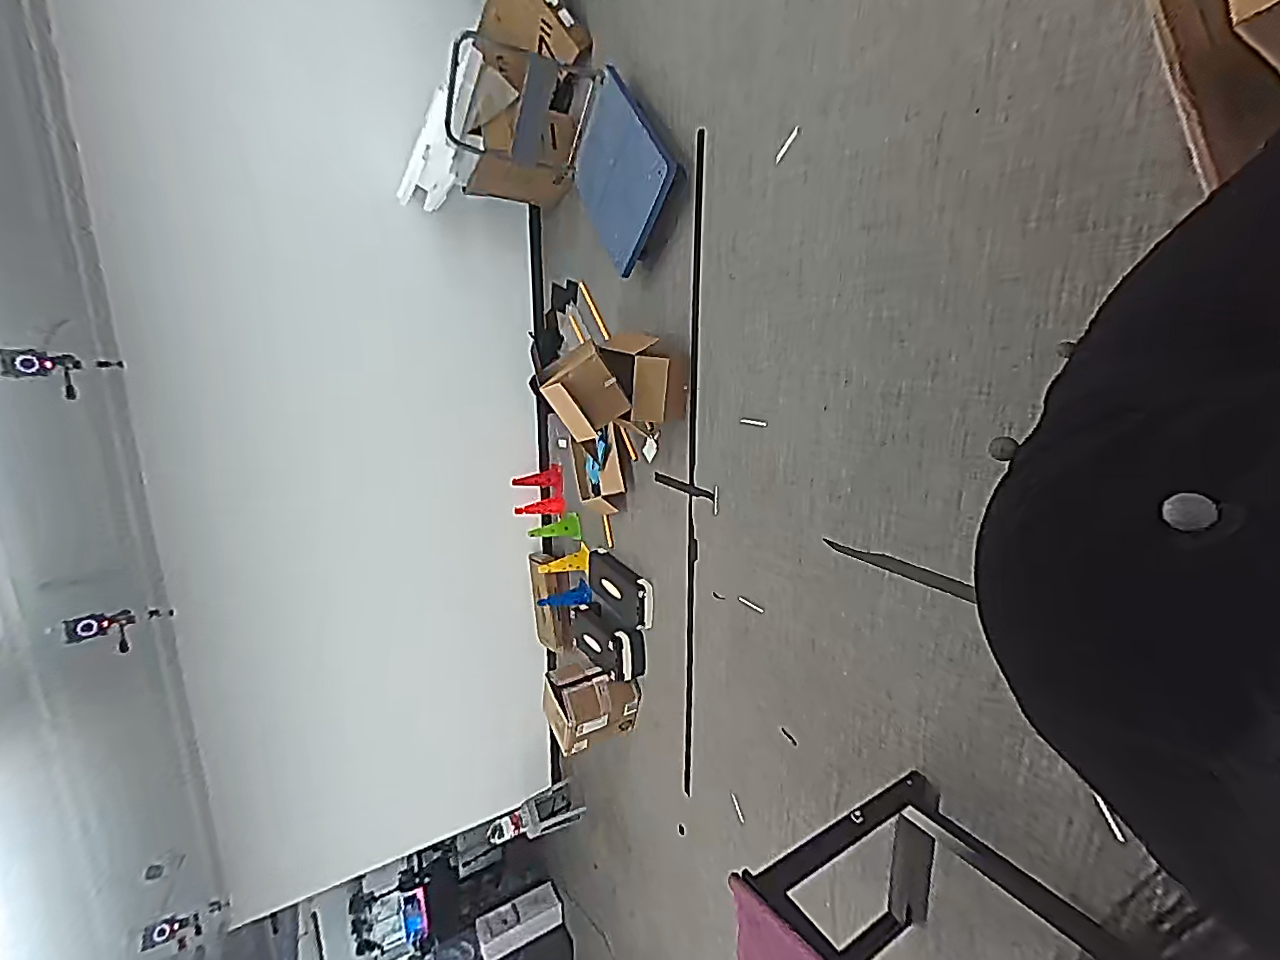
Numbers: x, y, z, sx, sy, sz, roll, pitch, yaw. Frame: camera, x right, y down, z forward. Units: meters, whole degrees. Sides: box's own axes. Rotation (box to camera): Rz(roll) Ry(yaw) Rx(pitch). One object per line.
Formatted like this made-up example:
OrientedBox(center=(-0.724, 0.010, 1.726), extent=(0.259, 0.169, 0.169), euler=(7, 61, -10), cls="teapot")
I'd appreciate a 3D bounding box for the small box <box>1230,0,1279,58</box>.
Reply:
OrientedBox(center=(0.501, -0.411, 0.334), extent=(0.179, 0.176, 0.168), euler=(-12, 88, 60), cls="small box")
